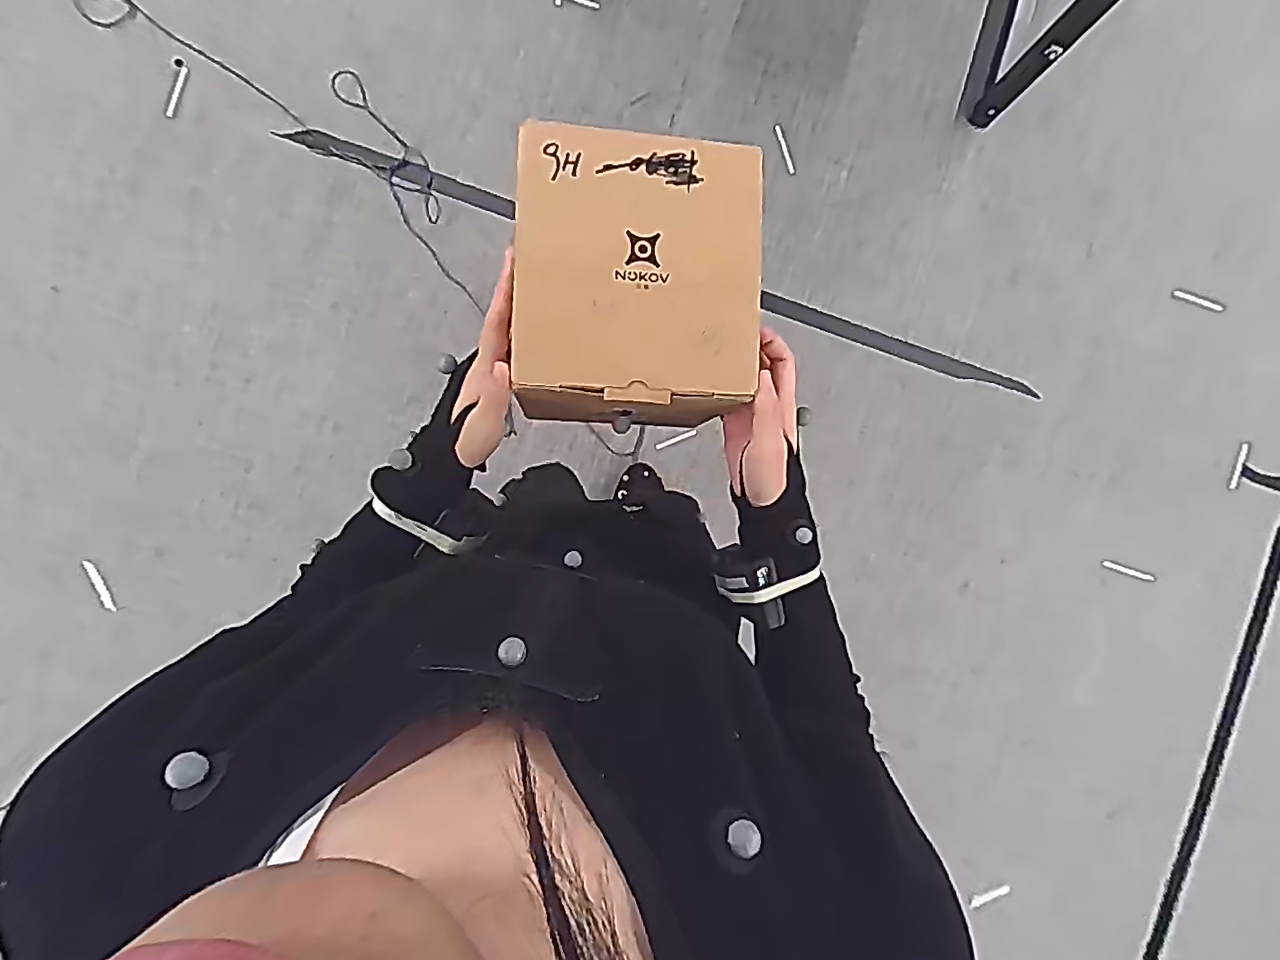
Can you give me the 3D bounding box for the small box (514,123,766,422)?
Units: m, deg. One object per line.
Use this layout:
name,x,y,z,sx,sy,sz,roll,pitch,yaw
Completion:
small box,-0.008,-0.142,0.437,0.168,0.176,0.179,1,90,-8
